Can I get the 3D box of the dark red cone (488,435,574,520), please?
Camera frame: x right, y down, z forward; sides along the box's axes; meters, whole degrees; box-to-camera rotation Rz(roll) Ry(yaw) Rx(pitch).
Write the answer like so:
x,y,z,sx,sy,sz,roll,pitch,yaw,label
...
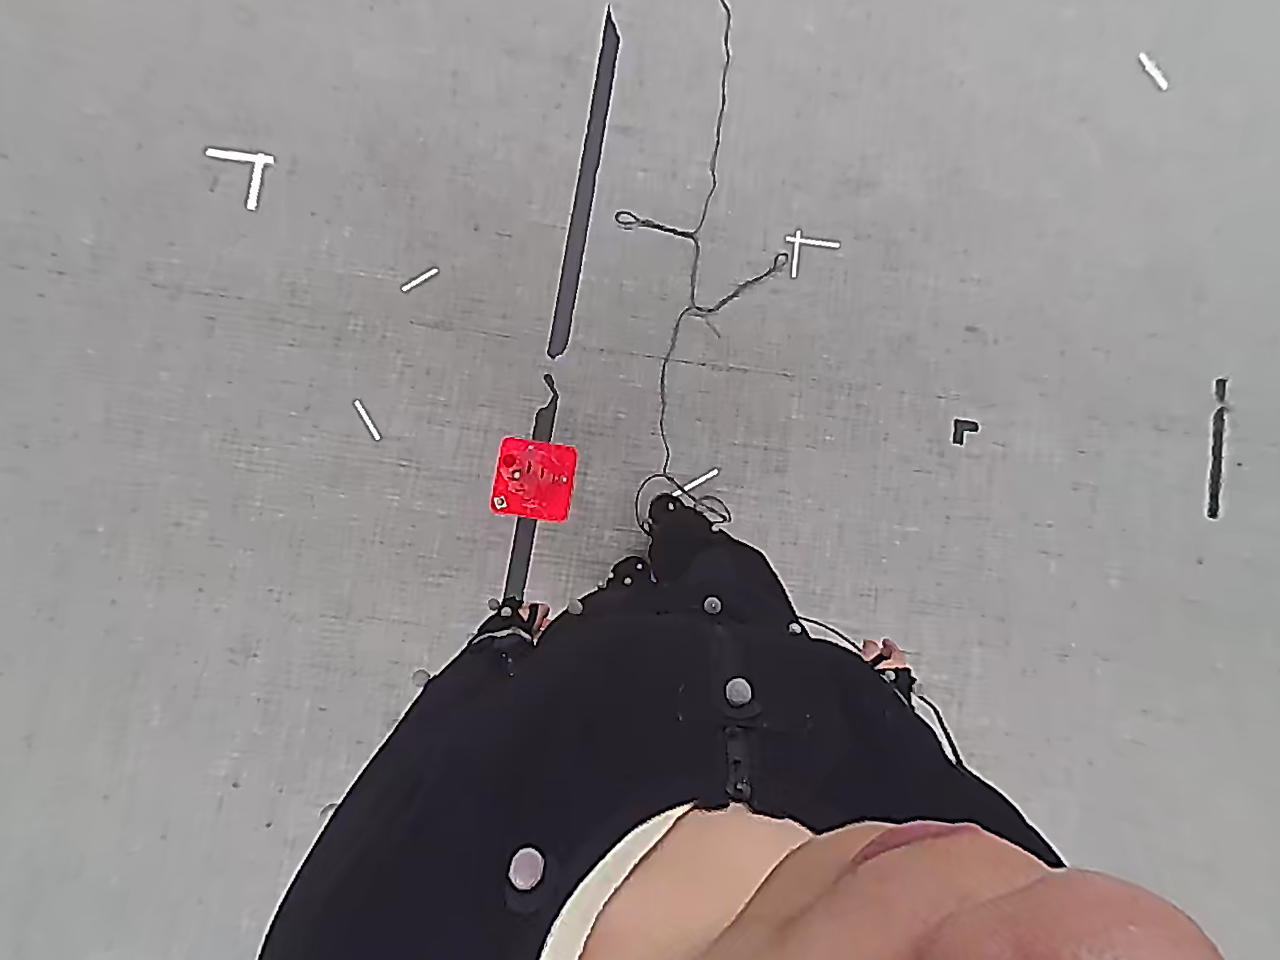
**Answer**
x,y,z,sx,sy,sz,roll,pitch,yaw,label
-0.258,-0.026,1.192,0.201,0.394,0.202,8,83,-4,dark red cone
